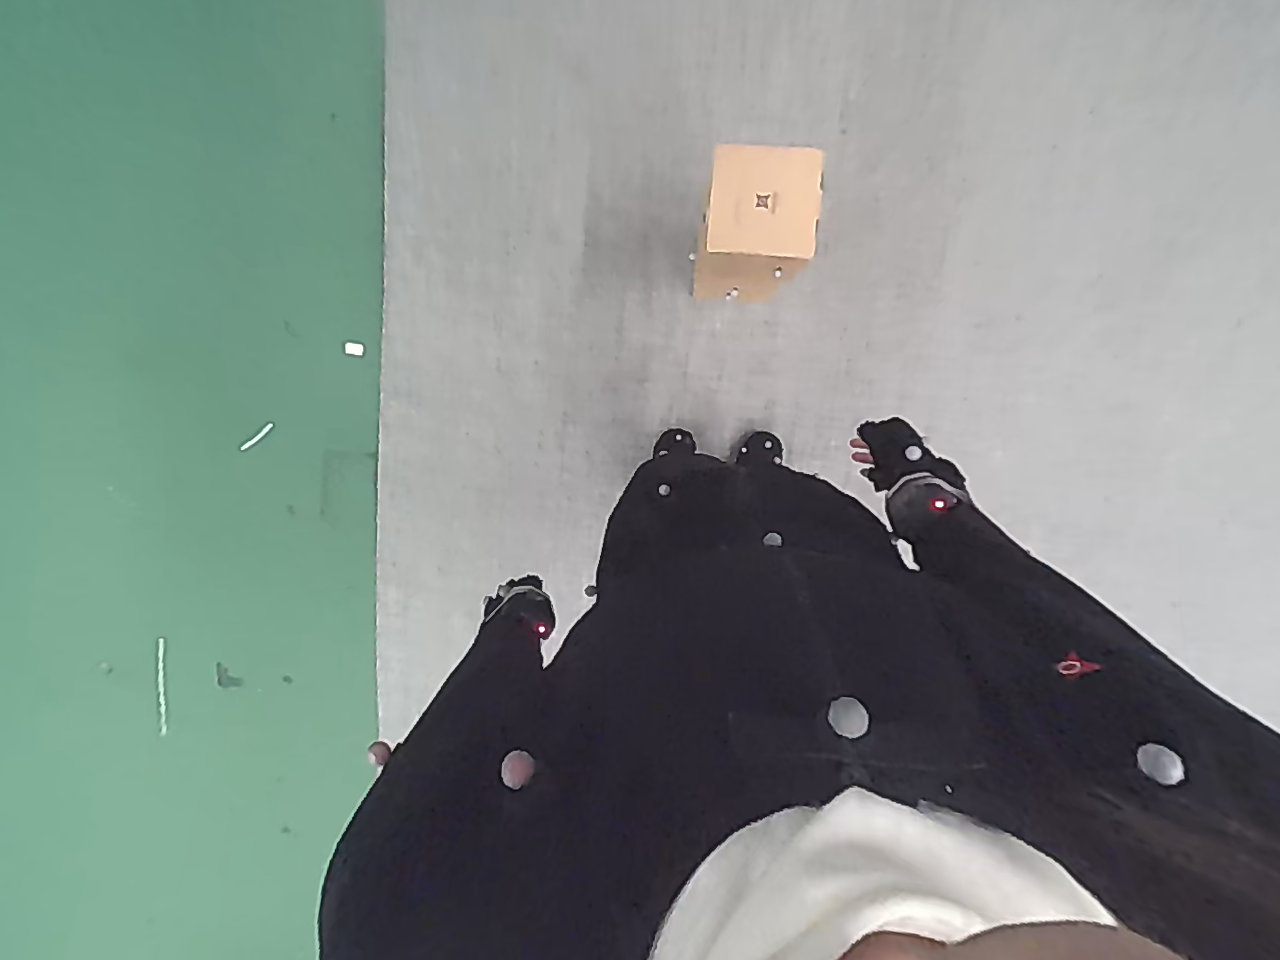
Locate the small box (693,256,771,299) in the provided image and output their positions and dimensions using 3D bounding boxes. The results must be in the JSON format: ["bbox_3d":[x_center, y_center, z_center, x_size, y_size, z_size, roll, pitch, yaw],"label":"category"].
[{"bbox_3d":[0.218,-0.522,1.259,0.179,0.176,0.168,5,99,5],"label":"small box"}]

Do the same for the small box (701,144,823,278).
[{"bbox_3d":[0.202,-0.456,0.940,0.179,0.176,0.168,4,98,5],"label":"small box"}]

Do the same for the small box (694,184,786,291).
[{"bbox_3d":[0.205,-0.486,1.103,0.179,0.176,0.168,4,101,4],"label":"small box"}]
